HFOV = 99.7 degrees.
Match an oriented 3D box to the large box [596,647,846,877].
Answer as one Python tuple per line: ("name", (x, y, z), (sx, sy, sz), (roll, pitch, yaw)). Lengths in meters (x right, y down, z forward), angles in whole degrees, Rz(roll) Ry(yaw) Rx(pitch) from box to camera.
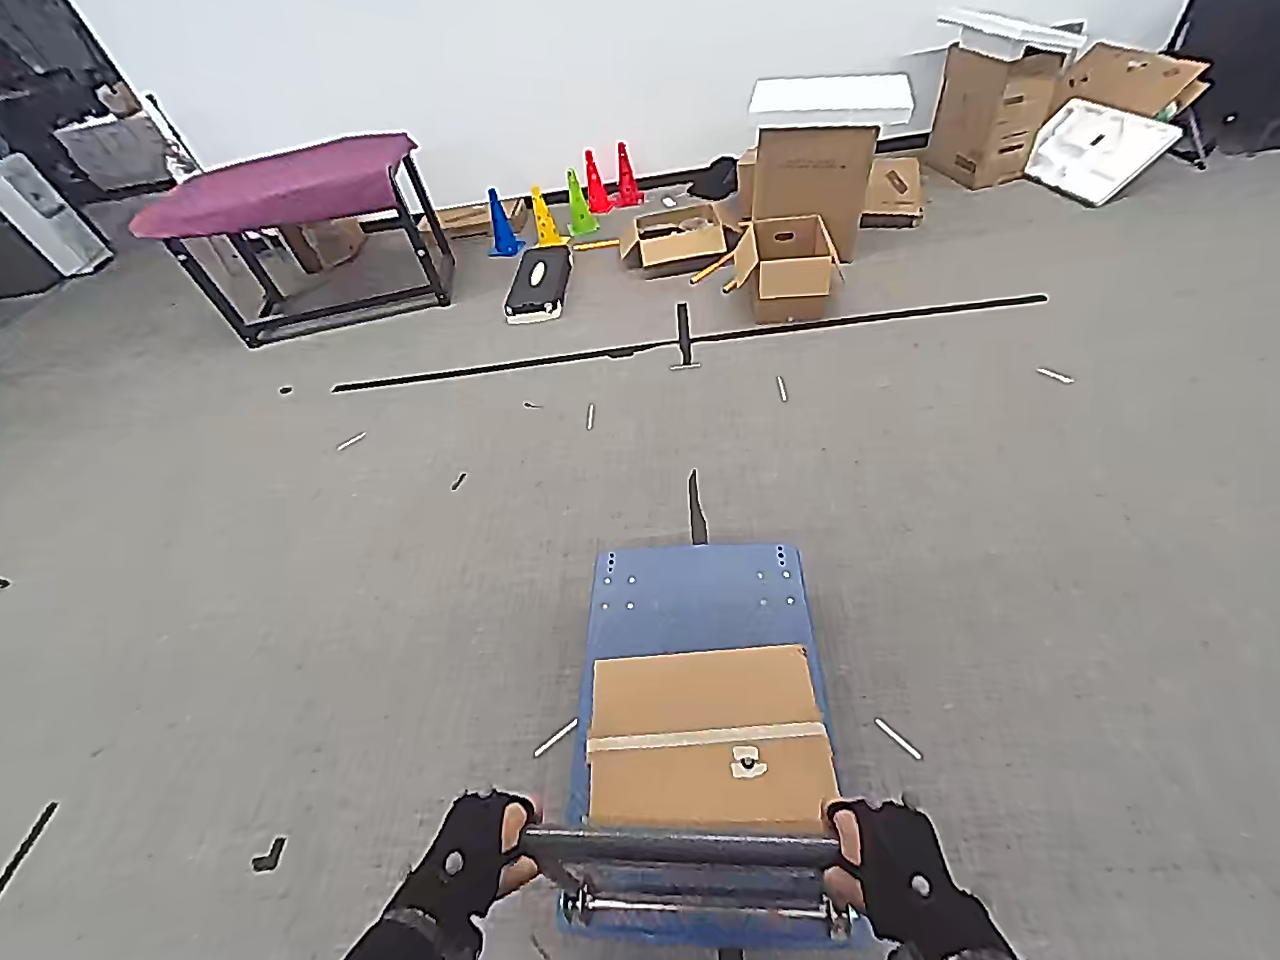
("large box", (0.134, 0.554, 1.054), (0.408, 0.320, 0.320), (-6, 48, 4))
